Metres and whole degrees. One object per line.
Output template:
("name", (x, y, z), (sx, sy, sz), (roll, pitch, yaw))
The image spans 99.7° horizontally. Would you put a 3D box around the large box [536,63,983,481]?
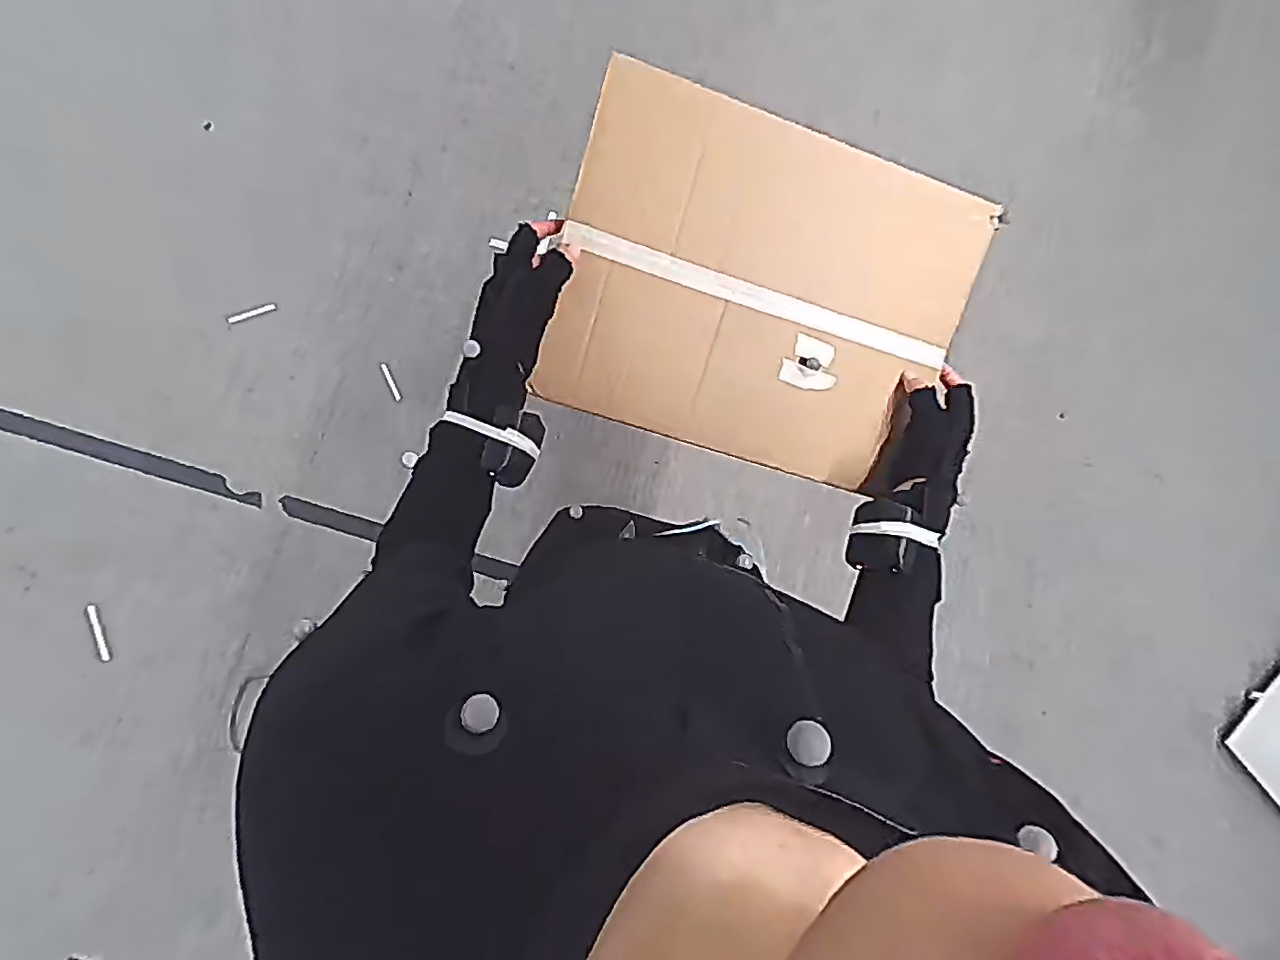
("large box", (0.108, -0.224, 0.697), (0.408, 0.320, 0.320), (17, 101, -9))
